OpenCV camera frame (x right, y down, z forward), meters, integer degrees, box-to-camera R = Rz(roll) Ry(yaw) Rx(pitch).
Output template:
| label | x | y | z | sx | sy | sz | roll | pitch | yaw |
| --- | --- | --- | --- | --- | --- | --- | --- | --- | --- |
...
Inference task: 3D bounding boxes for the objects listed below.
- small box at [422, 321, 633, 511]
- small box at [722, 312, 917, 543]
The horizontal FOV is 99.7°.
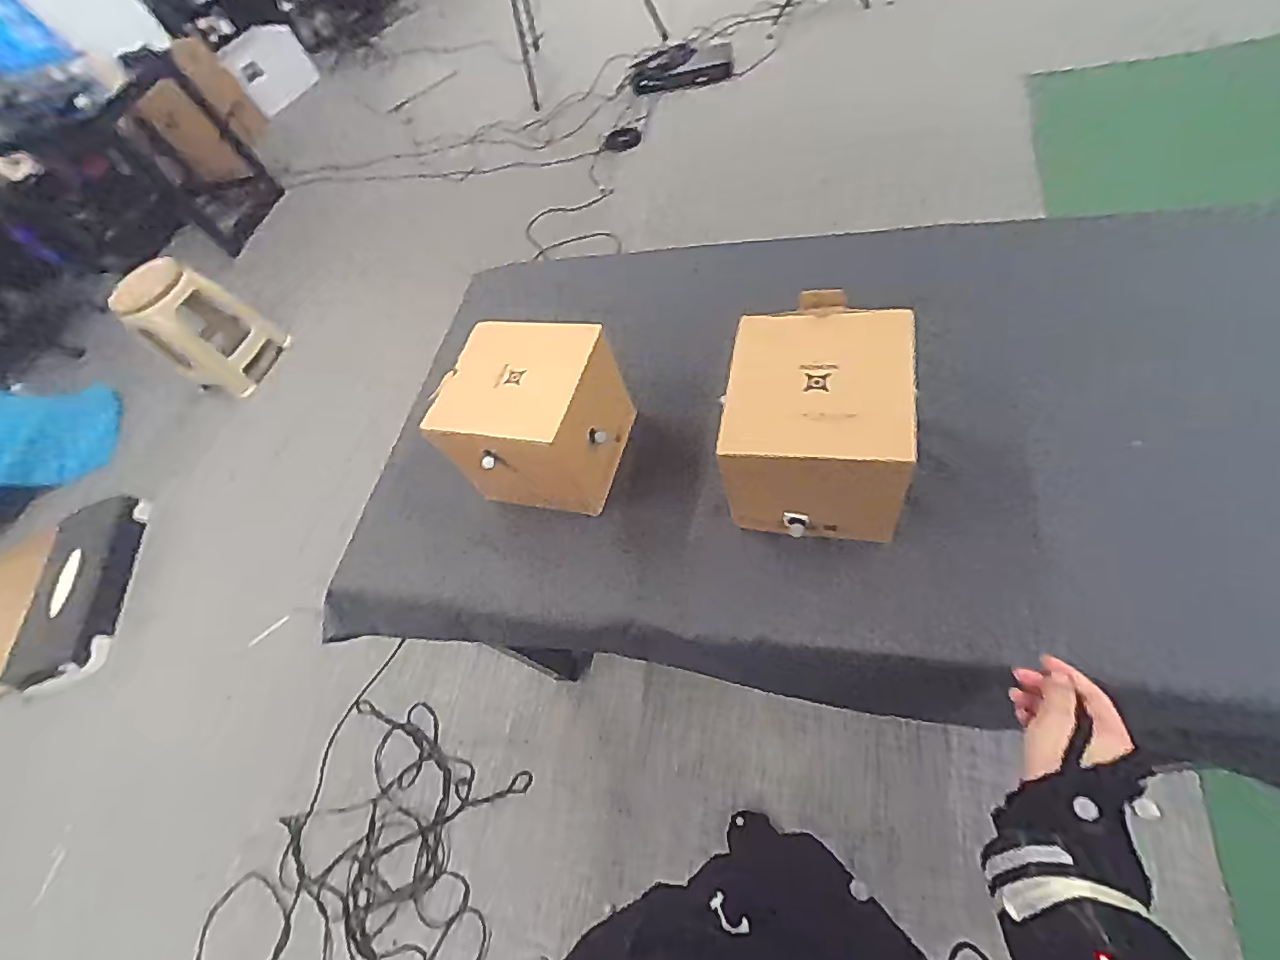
| label | x | y | z | sx | sy | sz | roll | pitch | yaw |
| --- | --- | --- | --- | --- | --- | --- | --- | --- | --- |
| small box | -0.123 | -0.075 | 0.675 | 0.179 | 0.176 | 0.168 | 7 | 62 | 20 |
| small box | 0.187 | -0.052 | 0.573 | 0.168 | 0.176 | 0.179 | 3 | 61 | 19 |
